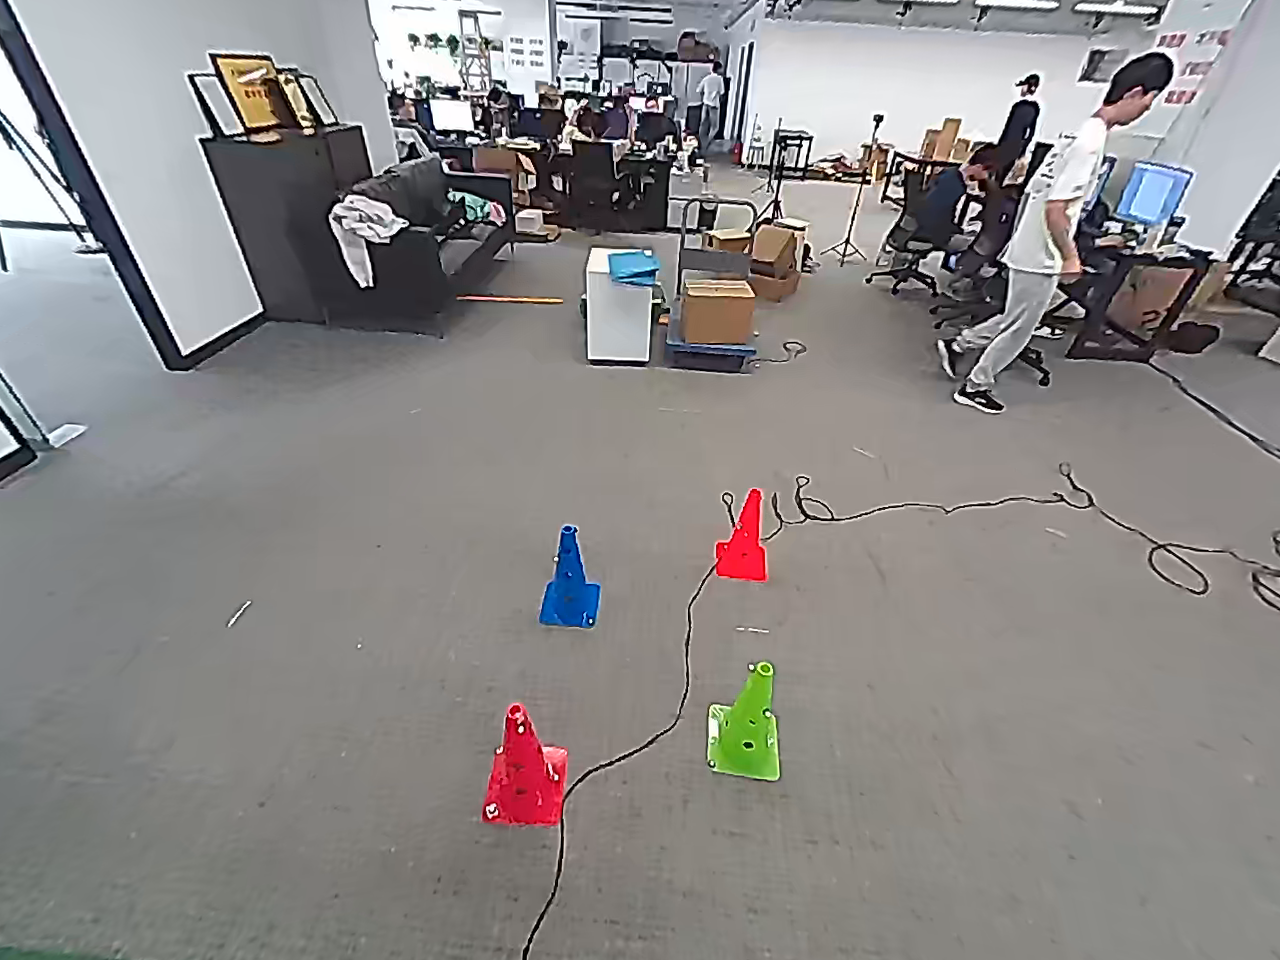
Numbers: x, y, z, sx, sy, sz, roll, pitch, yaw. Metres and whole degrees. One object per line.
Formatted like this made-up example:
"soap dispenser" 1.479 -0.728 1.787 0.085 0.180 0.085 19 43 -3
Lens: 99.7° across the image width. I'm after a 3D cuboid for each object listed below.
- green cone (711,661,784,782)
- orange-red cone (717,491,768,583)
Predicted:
"green cone" 0.313 0.616 1.450 0.200 0.368 0.202 6 35 4
"orange-red cone" 0.408 0.194 2.039 0.198 0.360 0.199 6 38 6
